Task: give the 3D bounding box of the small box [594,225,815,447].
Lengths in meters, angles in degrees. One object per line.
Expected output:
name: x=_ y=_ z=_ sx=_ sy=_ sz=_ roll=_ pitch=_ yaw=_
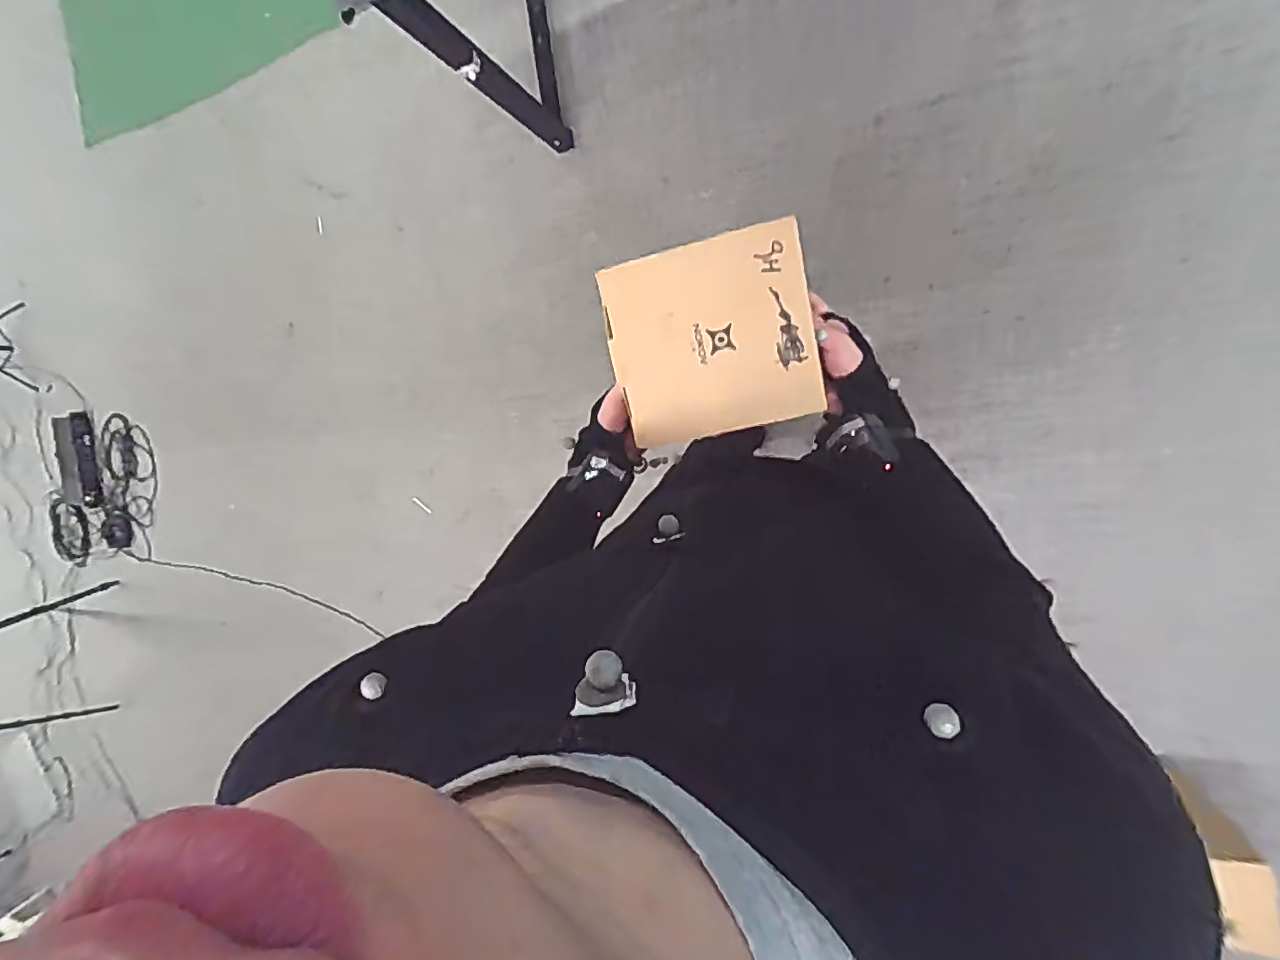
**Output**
small box: x=0.070 y=-0.140 z=0.557 sx=0.179 sy=0.176 sz=0.168 roll=-10 pitch=103 yaw=11
